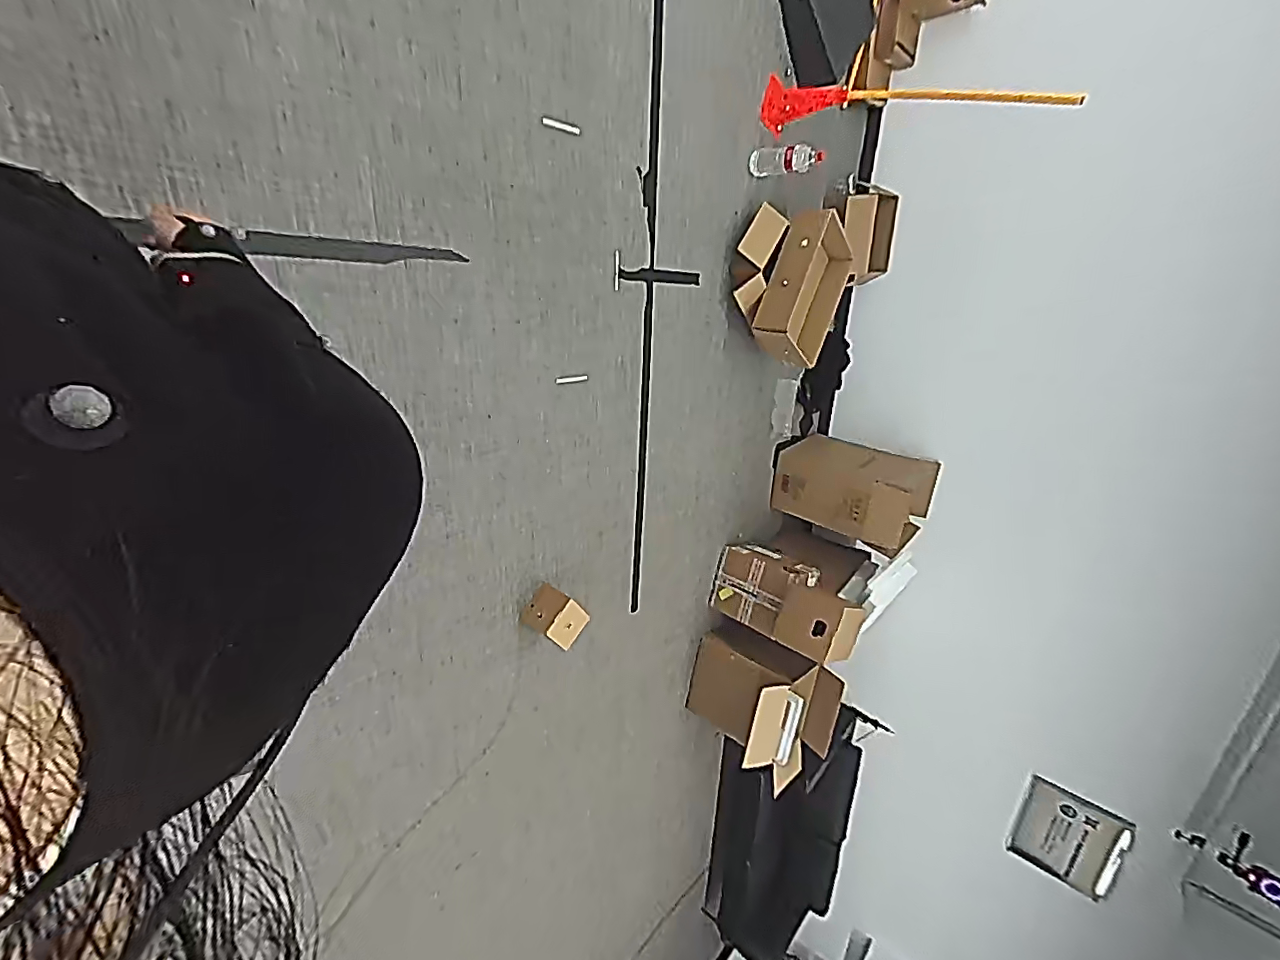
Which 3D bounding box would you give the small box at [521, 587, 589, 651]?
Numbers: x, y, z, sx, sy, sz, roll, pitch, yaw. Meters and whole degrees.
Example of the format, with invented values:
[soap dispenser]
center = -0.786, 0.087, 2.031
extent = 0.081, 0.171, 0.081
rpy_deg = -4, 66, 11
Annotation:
[small box]
center = -0.345, 0.552, 2.171
extent = 0.168, 0.176, 0.179
rpy_deg = -53, 140, -20
